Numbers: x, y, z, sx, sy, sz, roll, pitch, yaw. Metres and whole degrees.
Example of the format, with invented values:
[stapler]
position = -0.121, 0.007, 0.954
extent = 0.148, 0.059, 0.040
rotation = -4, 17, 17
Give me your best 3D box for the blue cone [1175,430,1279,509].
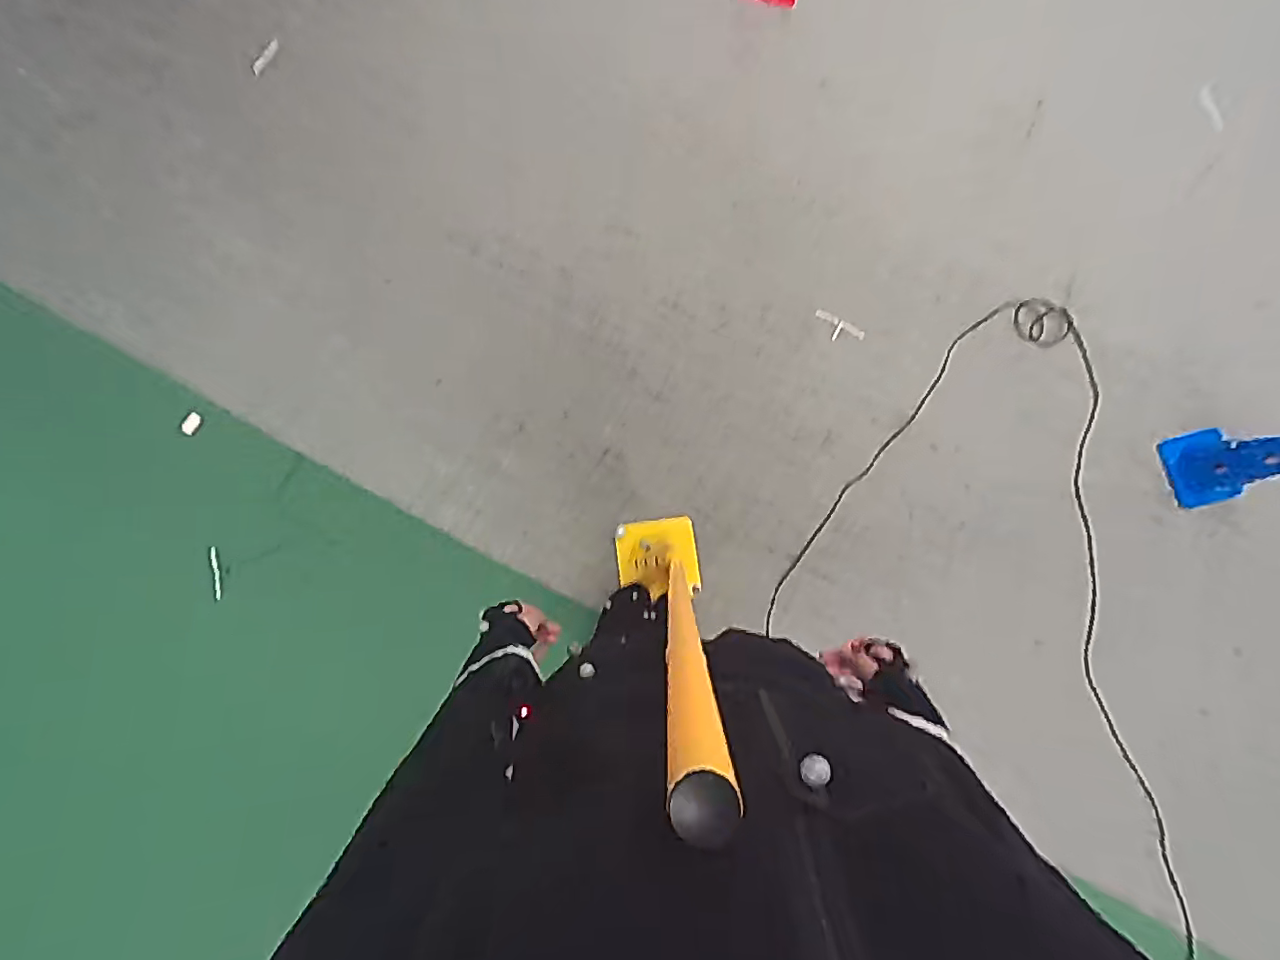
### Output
[blue cone]
position = 1.569, -0.058, 1.305
extent = 0.193, 0.380, 0.192
rotation = -15, 83, -7
